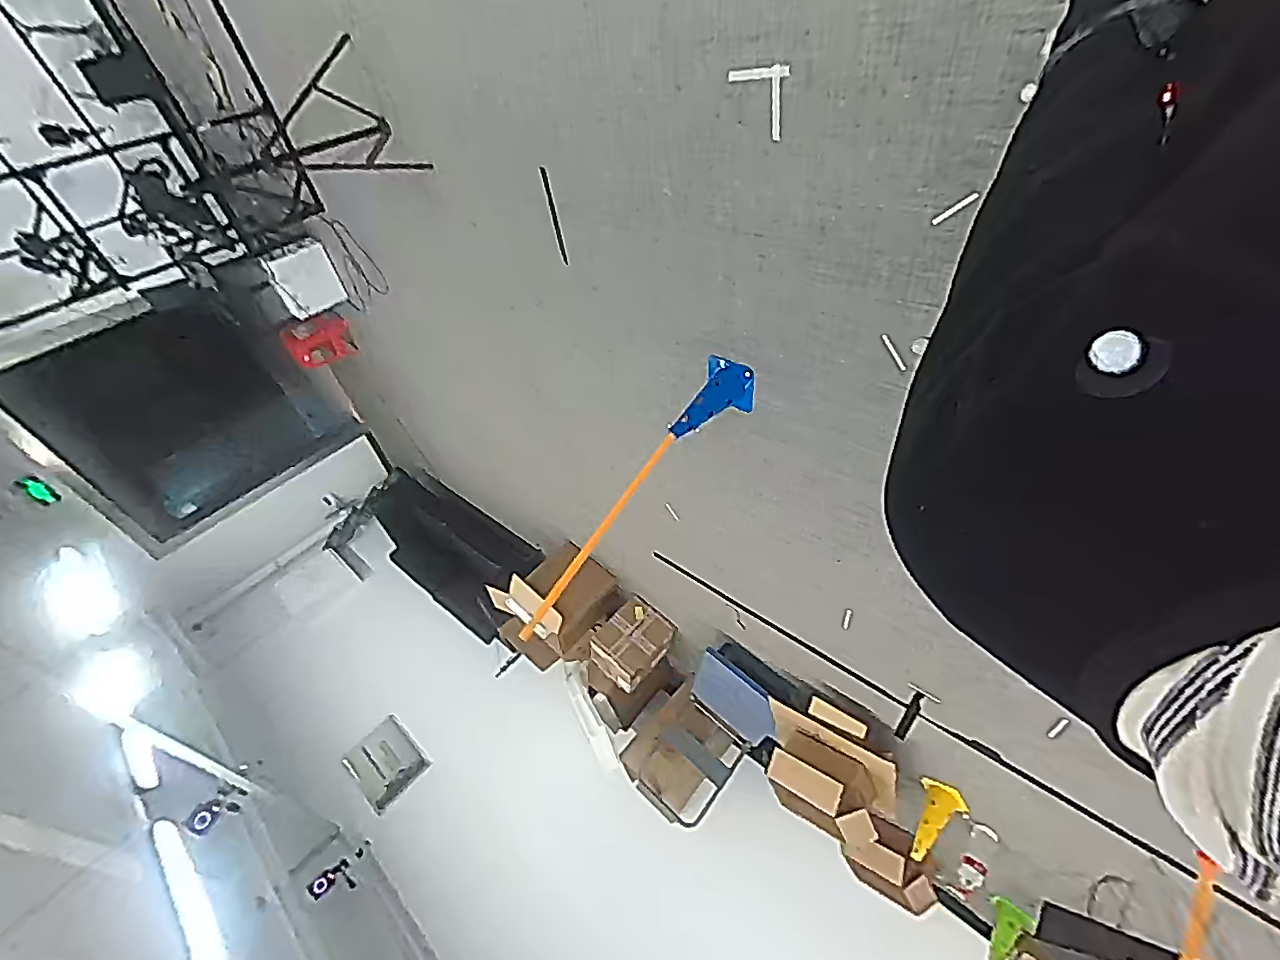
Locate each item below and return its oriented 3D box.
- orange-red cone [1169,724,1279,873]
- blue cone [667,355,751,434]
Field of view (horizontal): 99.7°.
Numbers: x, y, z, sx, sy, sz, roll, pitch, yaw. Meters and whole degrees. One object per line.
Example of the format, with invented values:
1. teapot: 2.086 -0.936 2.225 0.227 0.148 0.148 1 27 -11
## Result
1. orange-red cone: 1.577 0.894 1.473 0.198 0.360 0.199 30 147 30
2. blue cone: 0.227 -0.273 1.949 0.193 0.380 0.192 30 146 30
